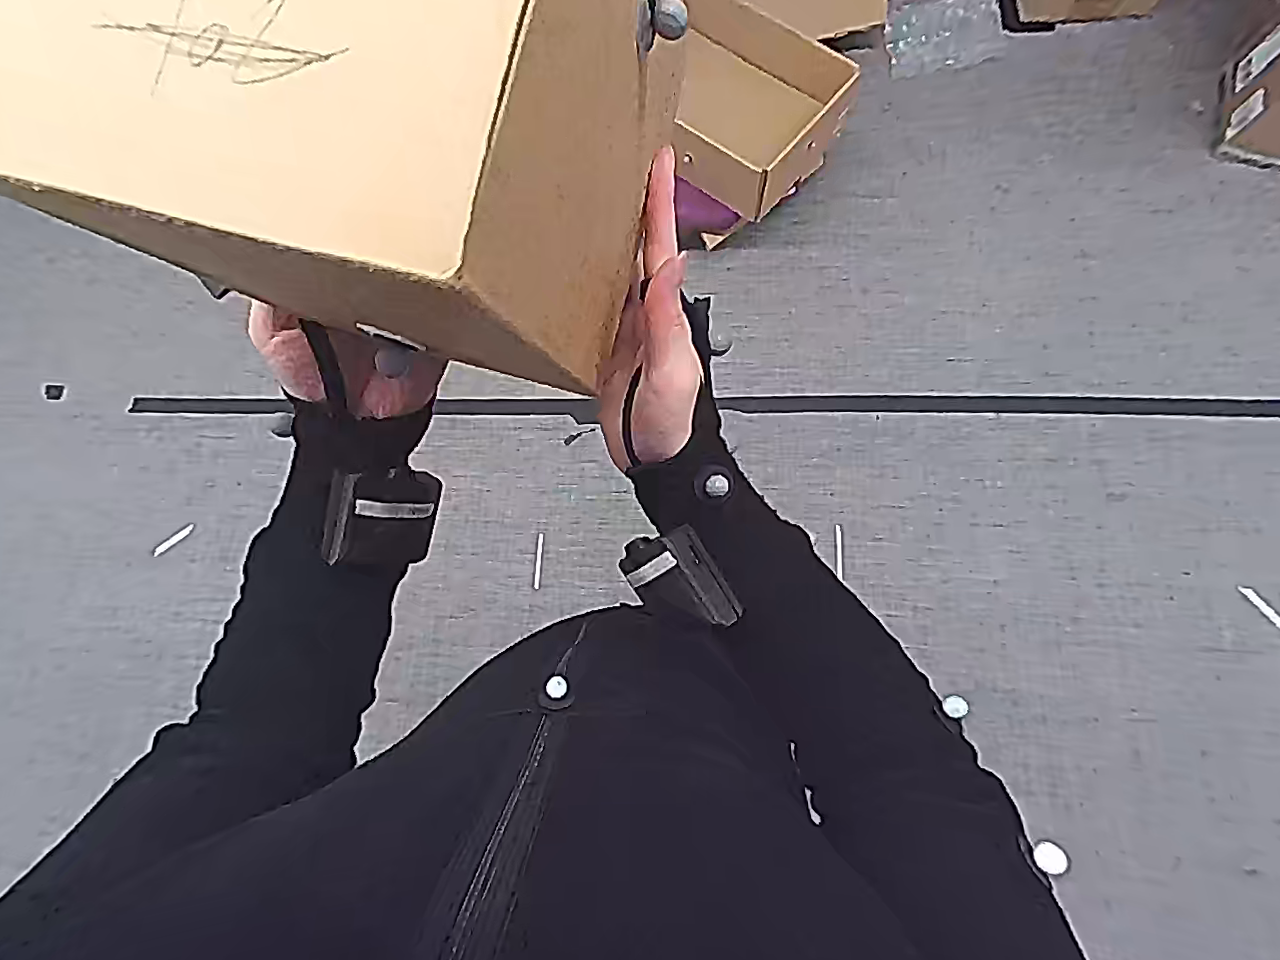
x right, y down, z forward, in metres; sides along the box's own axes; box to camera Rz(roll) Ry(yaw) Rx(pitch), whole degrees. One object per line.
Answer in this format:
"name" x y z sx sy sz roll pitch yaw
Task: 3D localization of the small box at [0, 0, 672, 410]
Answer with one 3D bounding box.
"small box" -0.087 -0.141 0.227 0.168 0.176 0.179 15 92 7
